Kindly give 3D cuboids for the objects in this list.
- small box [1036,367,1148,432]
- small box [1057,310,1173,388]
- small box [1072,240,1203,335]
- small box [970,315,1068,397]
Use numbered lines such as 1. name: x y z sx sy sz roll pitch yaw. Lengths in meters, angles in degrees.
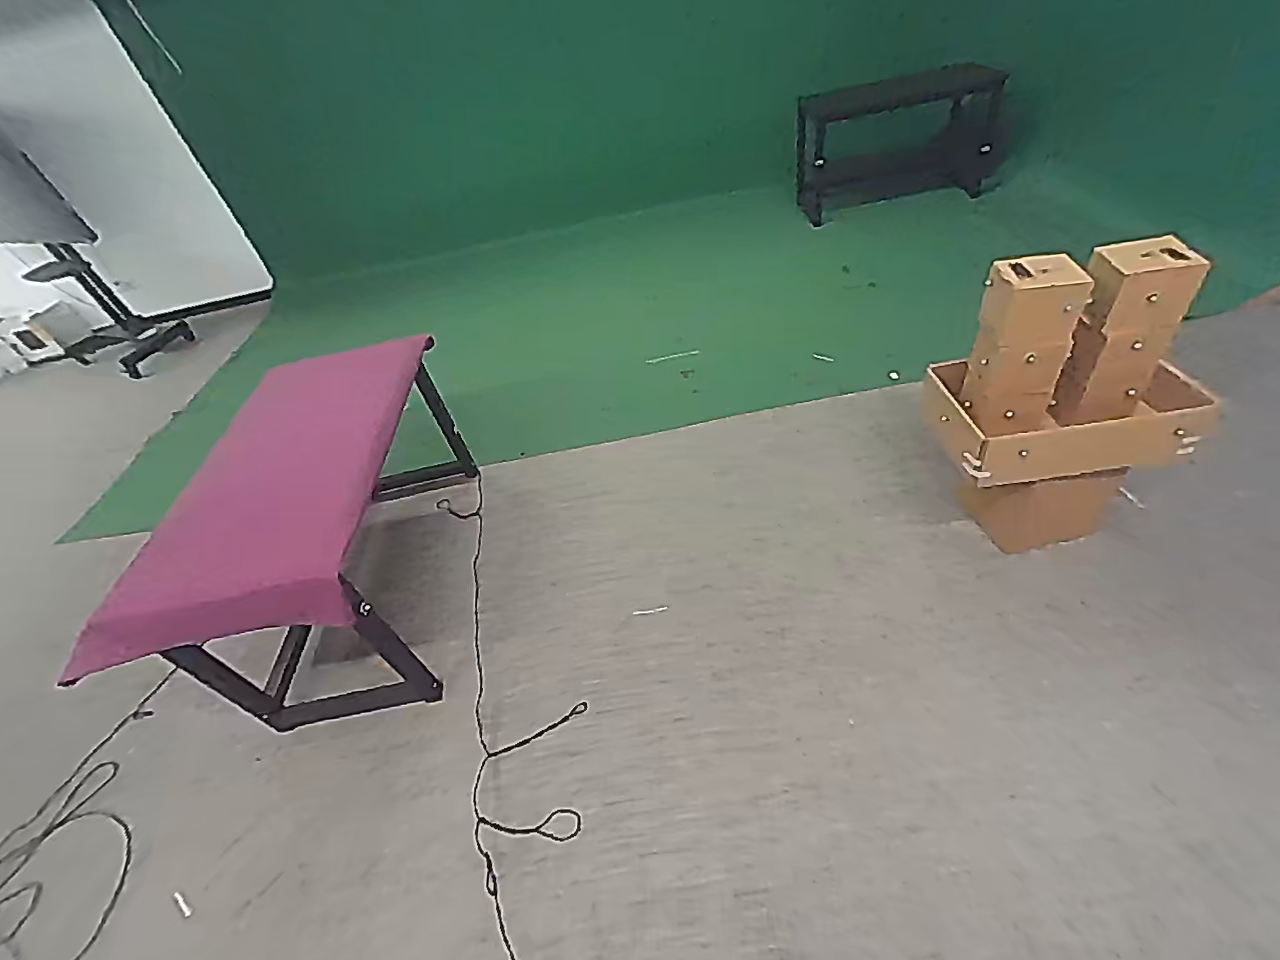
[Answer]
1. small box: 1.355 -0.268 1.636 0.179 0.176 0.168 -10 42 5
2. small box: 1.321 -0.383 1.529 0.179 0.176 0.168 -11 43 6
3. small box: 1.291 -0.503 1.420 0.179 0.176 0.168 -5 43 13
4. small box: 1.076 -0.353 1.557 0.179 0.176 0.168 -1 45 12
